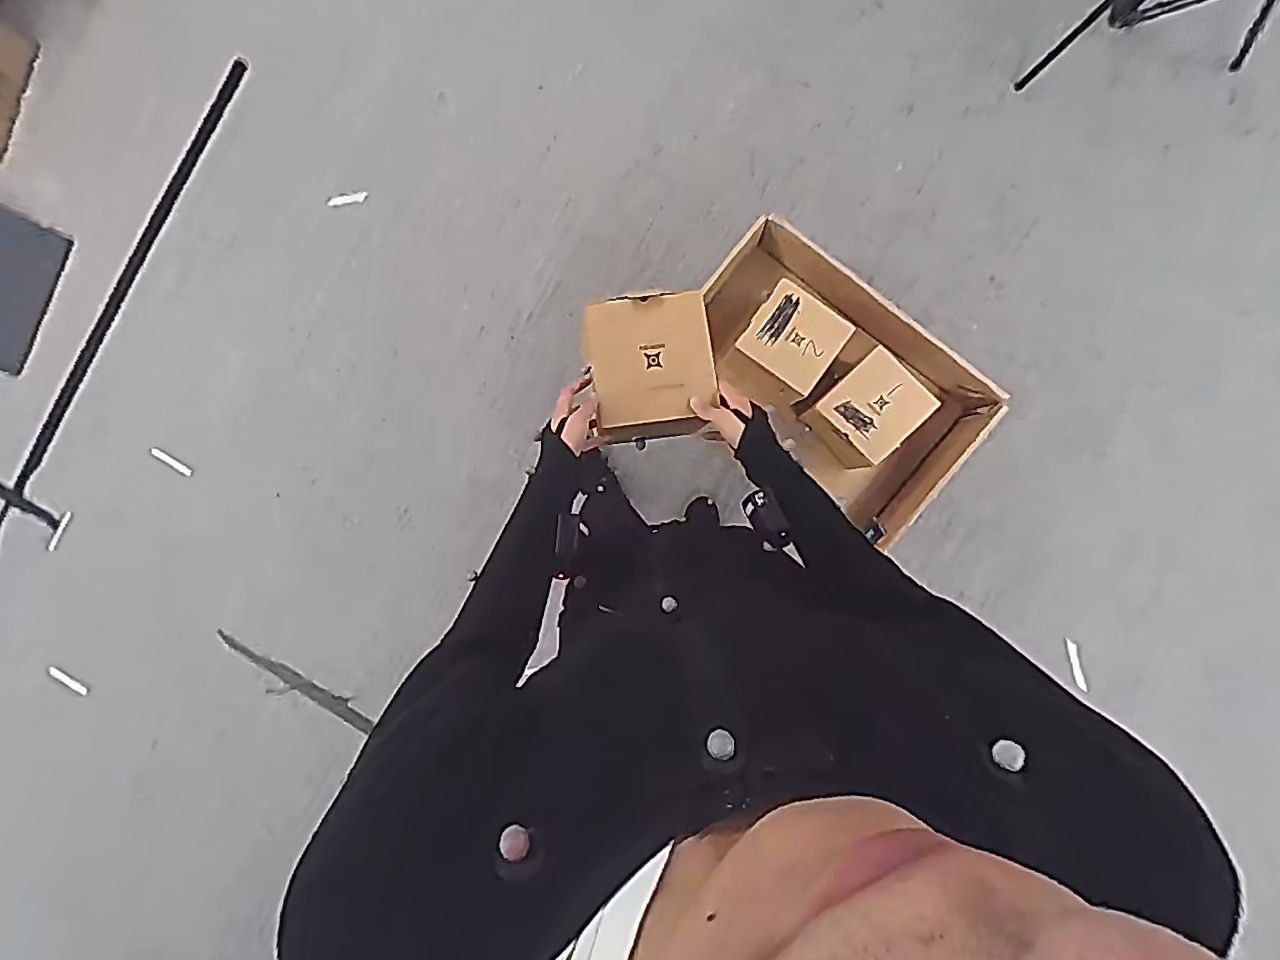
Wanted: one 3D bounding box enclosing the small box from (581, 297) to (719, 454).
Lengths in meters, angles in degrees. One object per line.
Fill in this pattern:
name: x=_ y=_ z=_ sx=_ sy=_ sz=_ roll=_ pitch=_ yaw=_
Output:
small box: x=0.005 y=-0.146 z=0.800 sx=0.168 sy=0.176 sz=0.179 roll=-9 pitch=85 yaw=-7
